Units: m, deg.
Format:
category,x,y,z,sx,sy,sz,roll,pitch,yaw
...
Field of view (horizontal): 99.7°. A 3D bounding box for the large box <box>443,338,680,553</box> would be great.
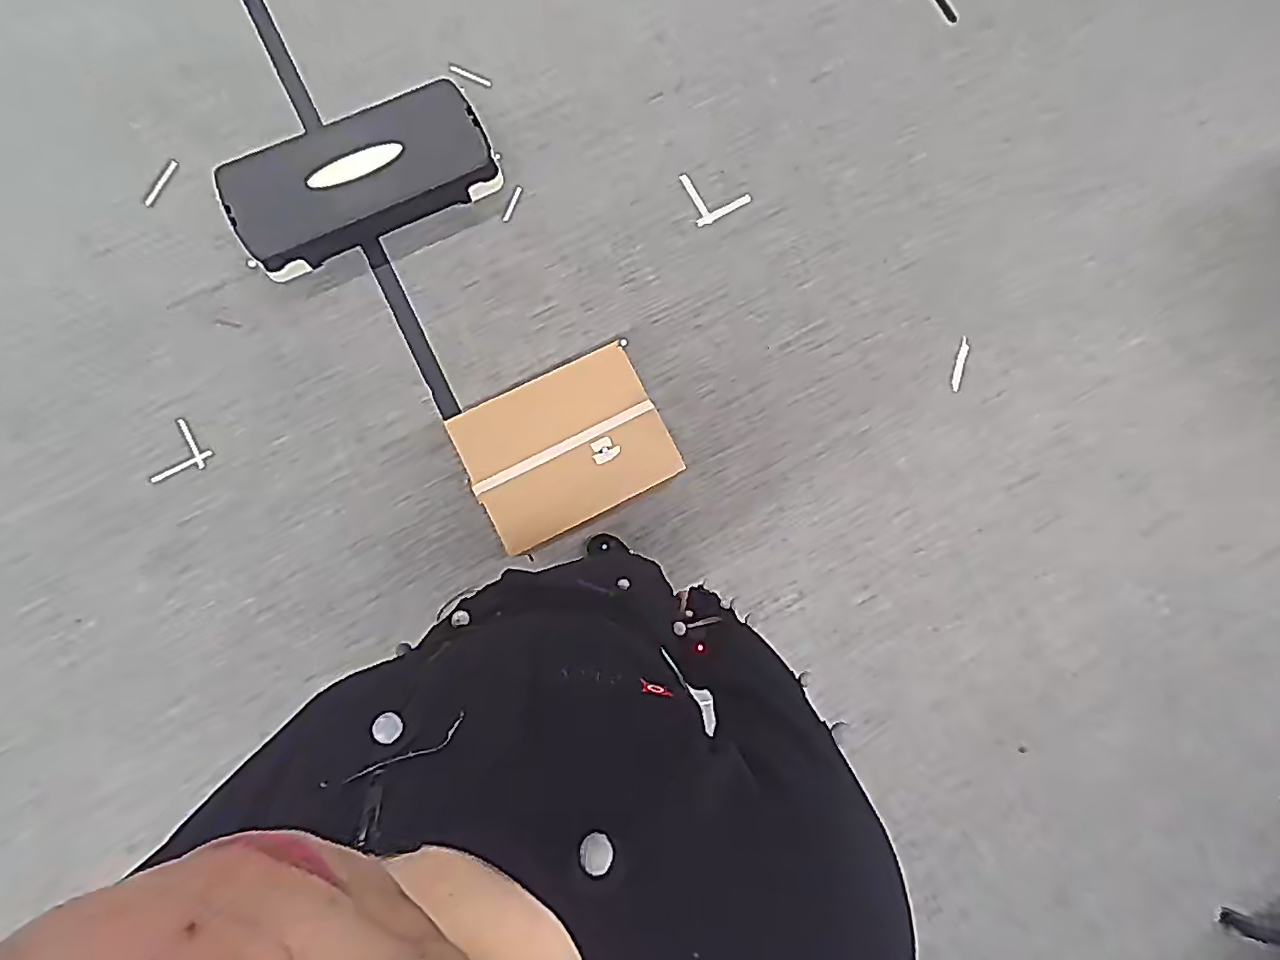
category,x,y,z,sx,sy,sz,roll,pitch,yaw
large box,-0.170,-0.058,1.250,0.408,0.320,0.320,-27,87,-8
